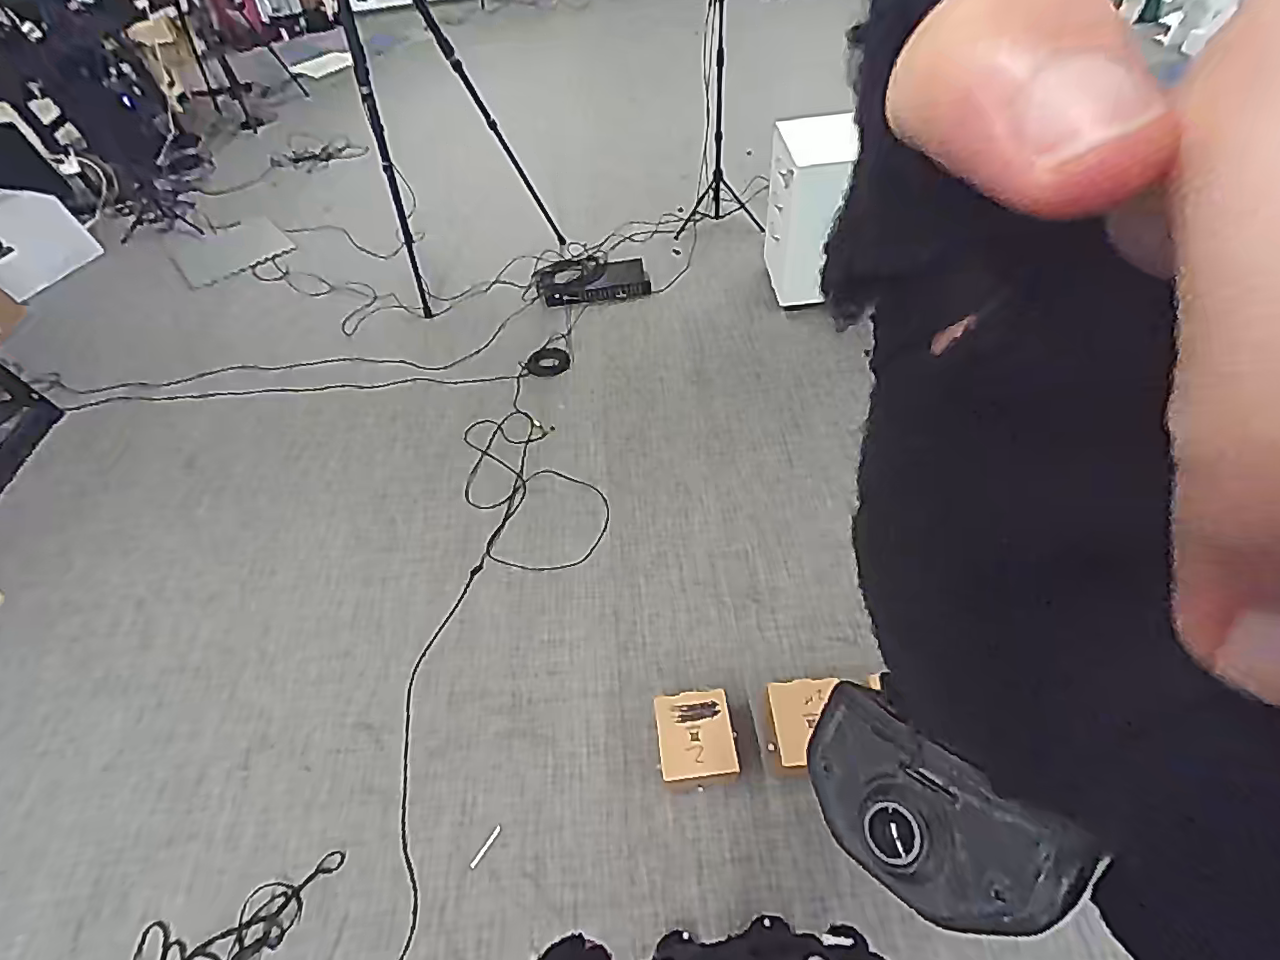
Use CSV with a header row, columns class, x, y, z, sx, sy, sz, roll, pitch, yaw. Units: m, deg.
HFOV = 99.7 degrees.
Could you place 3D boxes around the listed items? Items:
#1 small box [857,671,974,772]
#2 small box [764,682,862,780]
class,x,y,z,sx,sy,sz,roll,pitch,yaw
small box,0.620,0.560,1.243,0.168,0.176,0.179,-7,52,1
small box,0.389,0.584,1.248,0.168,0.176,0.179,-5,52,2
